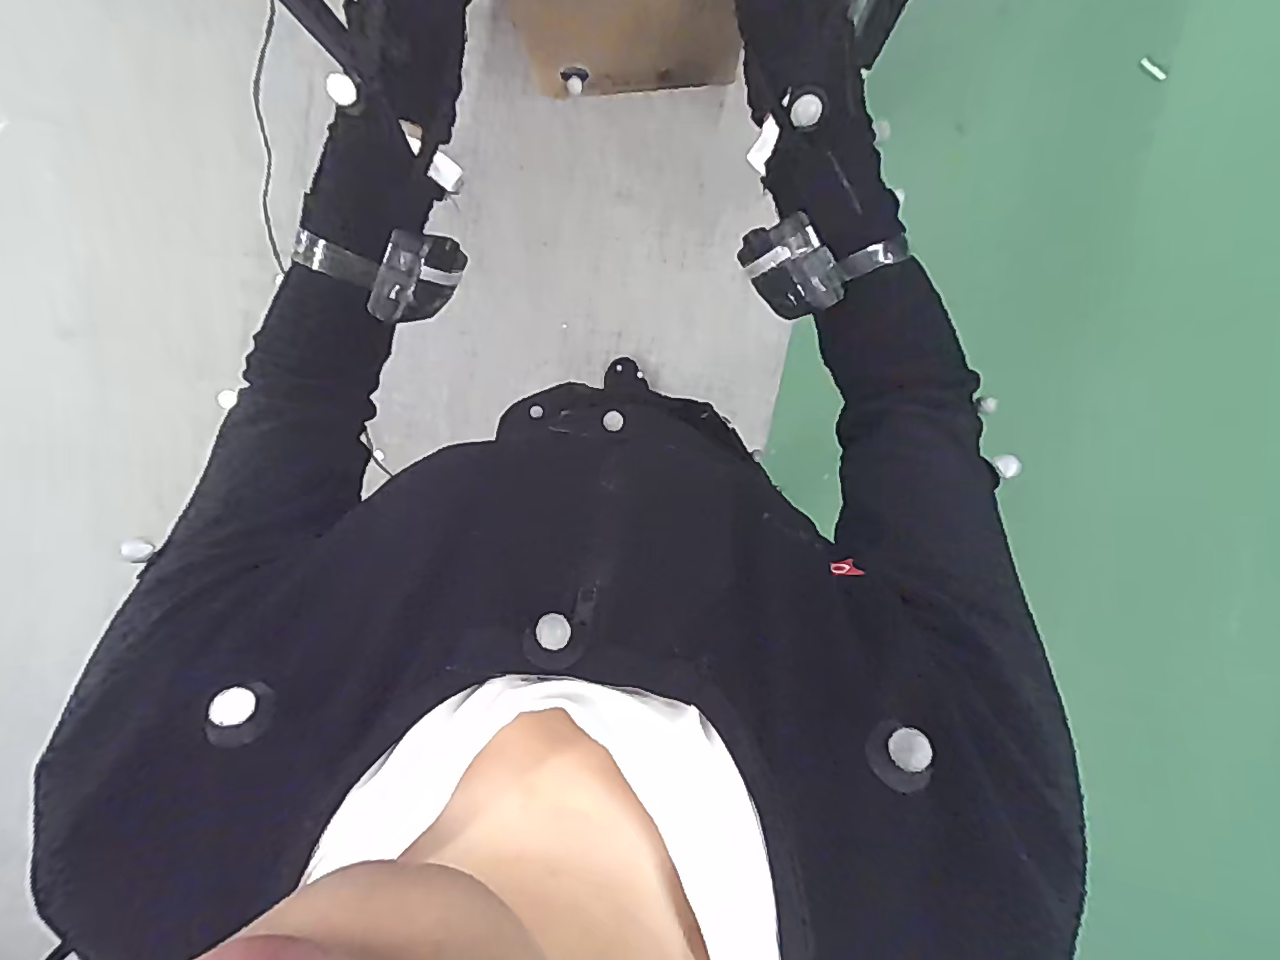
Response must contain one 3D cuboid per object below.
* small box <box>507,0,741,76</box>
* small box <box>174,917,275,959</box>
[{"bbox_3d":[-0.012,-0.410,0.365,0.168,0.176,0.179,-2,95,4],"label":"small box"},{"bbox_3d":[-0.996,1.172,1.252,0.179,0.176,0.168,18,96,1],"label":"small box"}]
